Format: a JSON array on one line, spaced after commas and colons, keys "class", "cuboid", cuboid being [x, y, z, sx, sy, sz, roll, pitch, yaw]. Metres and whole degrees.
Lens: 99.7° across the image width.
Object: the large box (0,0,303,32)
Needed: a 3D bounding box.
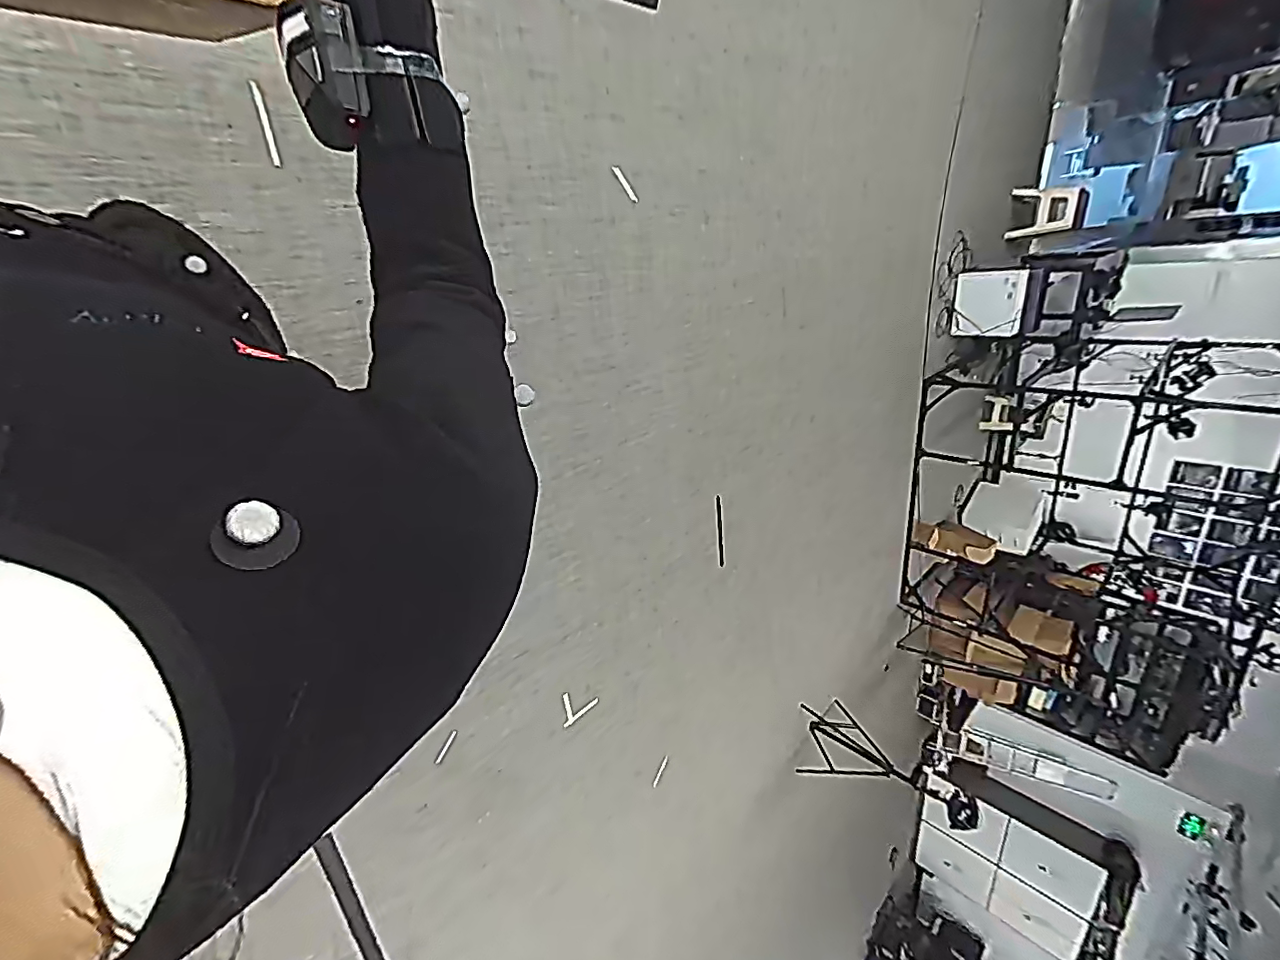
[{"class": "large box", "cuboid": [-0.442, -0.430, 0.231, 0.408, 0.320, 0.320, -22, 132, -37]}]
